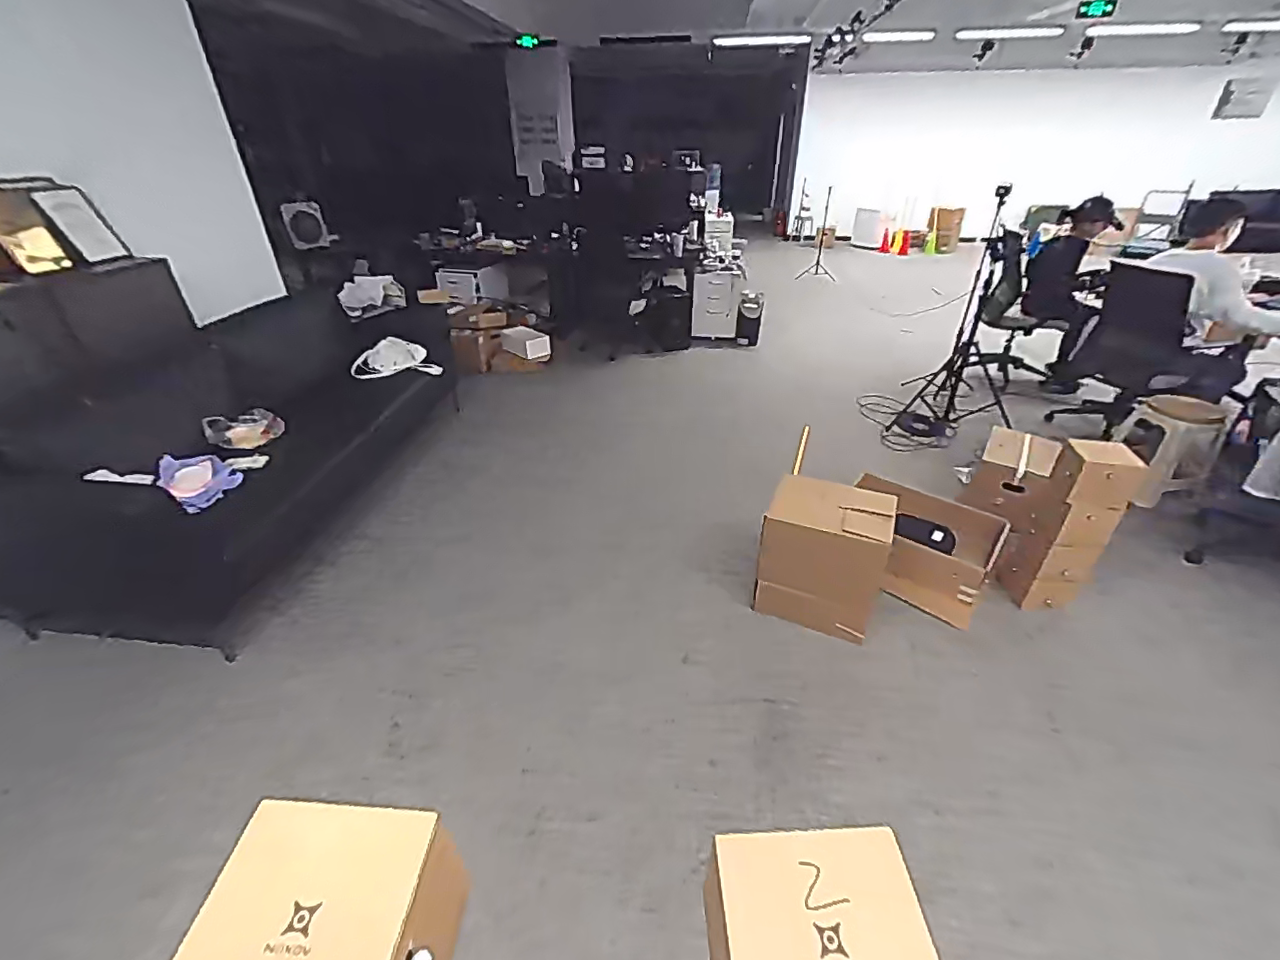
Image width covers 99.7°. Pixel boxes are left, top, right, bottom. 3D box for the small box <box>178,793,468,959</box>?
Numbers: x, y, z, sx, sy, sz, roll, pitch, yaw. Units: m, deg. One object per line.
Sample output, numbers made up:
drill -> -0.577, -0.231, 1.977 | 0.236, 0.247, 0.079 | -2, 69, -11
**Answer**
small box -> -0.262, 0.408, 0.473 | 0.168, 0.176, 0.179 | 4, 39, 3
